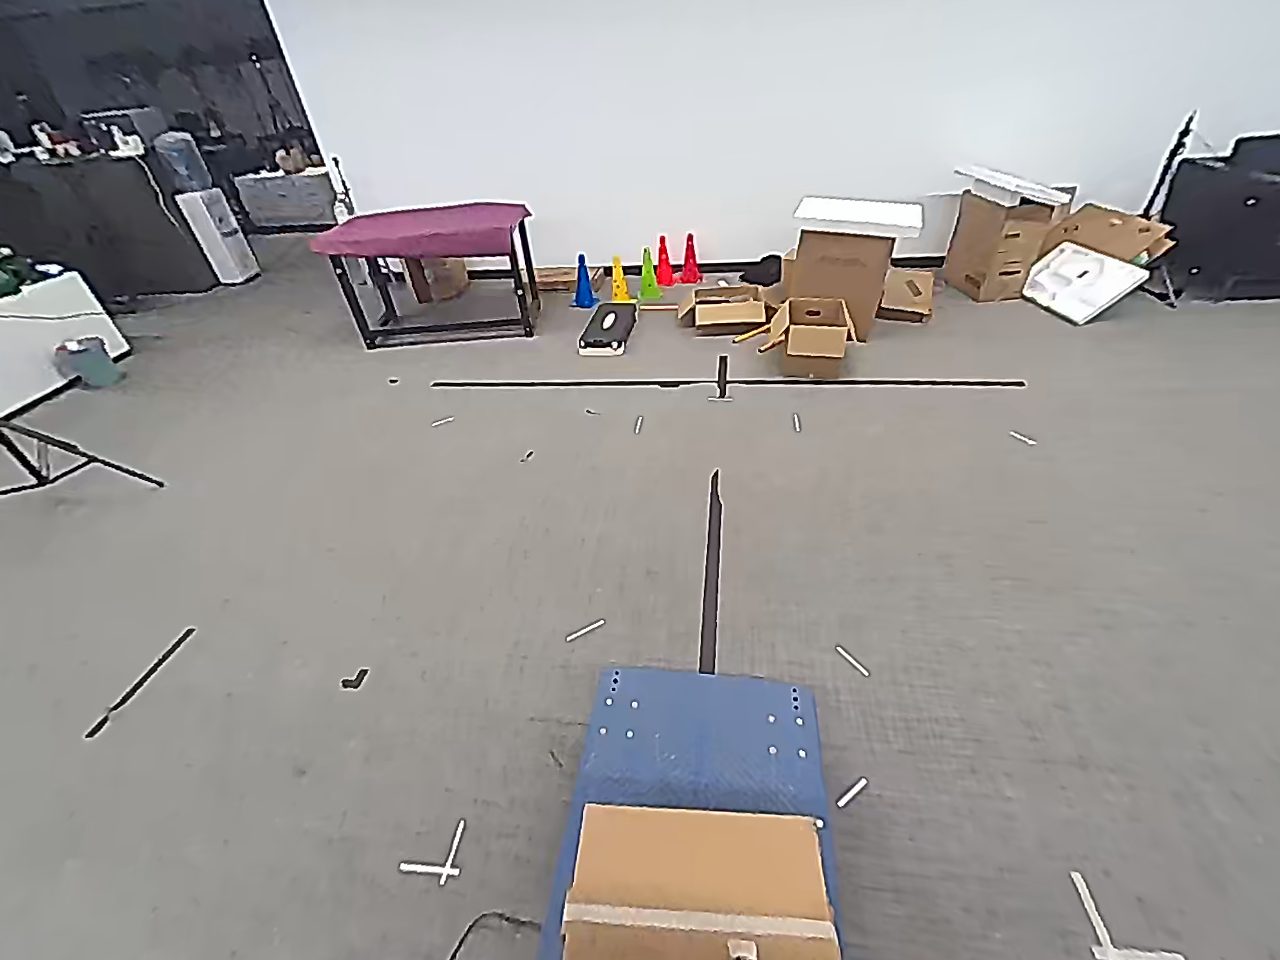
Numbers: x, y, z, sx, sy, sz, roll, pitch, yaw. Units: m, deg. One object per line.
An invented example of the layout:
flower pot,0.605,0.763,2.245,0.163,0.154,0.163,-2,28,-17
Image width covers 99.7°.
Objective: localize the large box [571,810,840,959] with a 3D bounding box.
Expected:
large box,0.104,0.801,0.923,0.408,0.320,0.320,0,39,5
